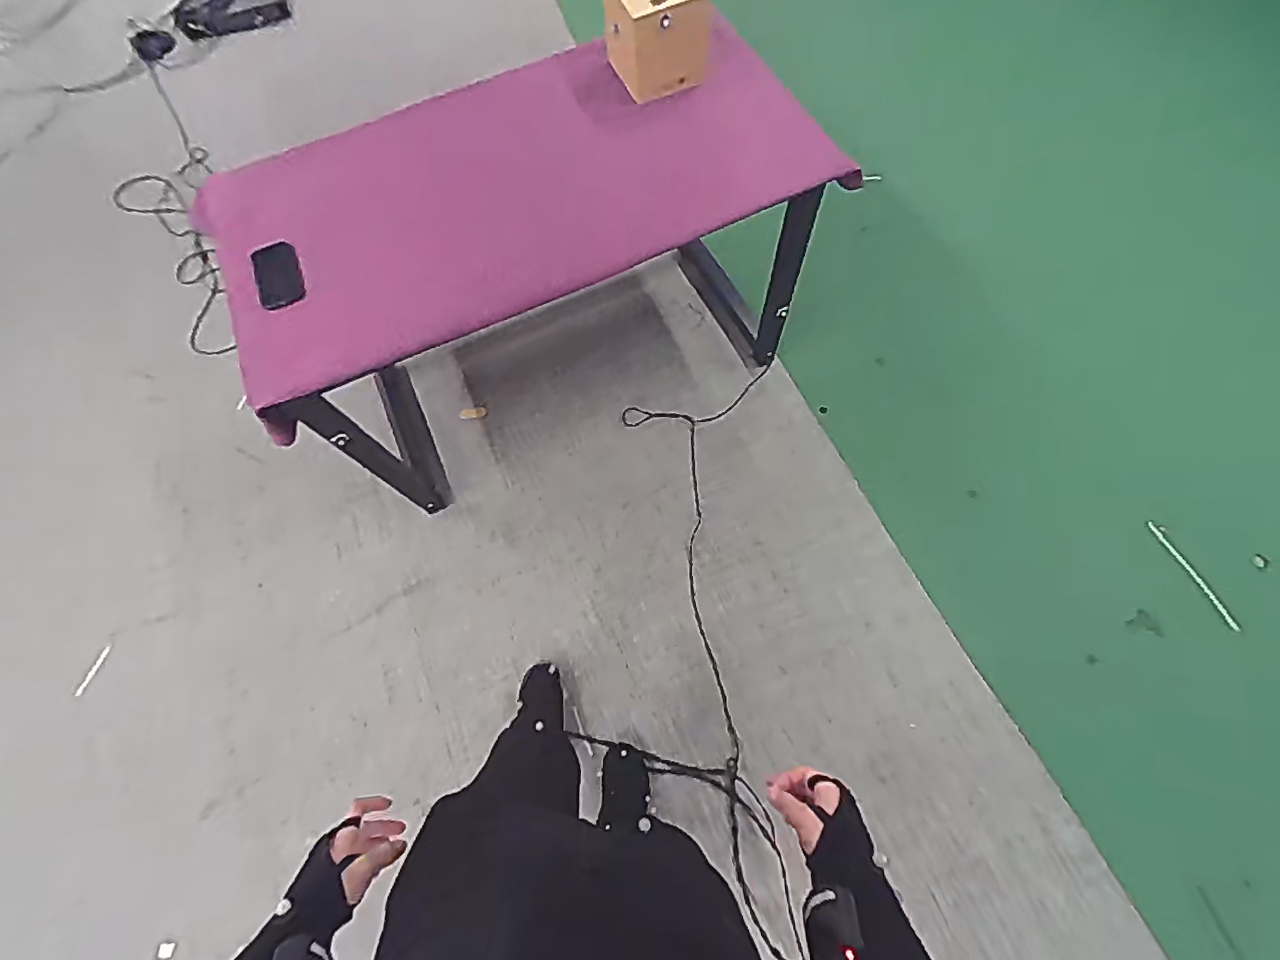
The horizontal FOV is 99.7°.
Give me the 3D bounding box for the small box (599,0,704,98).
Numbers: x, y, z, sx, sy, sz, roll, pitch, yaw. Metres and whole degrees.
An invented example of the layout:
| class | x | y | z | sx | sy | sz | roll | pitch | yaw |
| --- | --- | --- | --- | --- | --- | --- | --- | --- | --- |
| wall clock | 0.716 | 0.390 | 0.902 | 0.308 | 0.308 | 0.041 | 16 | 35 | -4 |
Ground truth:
| class | x | y | z | sx | sy | sz | roll | pitch | yaw |
| --- | --- | --- | --- | --- | --- | --- | --- | --- | --- |
| small box | 0.020 | -0.943 | 1.117 | 0.168 | 0.176 | 0.179 | -24 | 69 | -4 |
